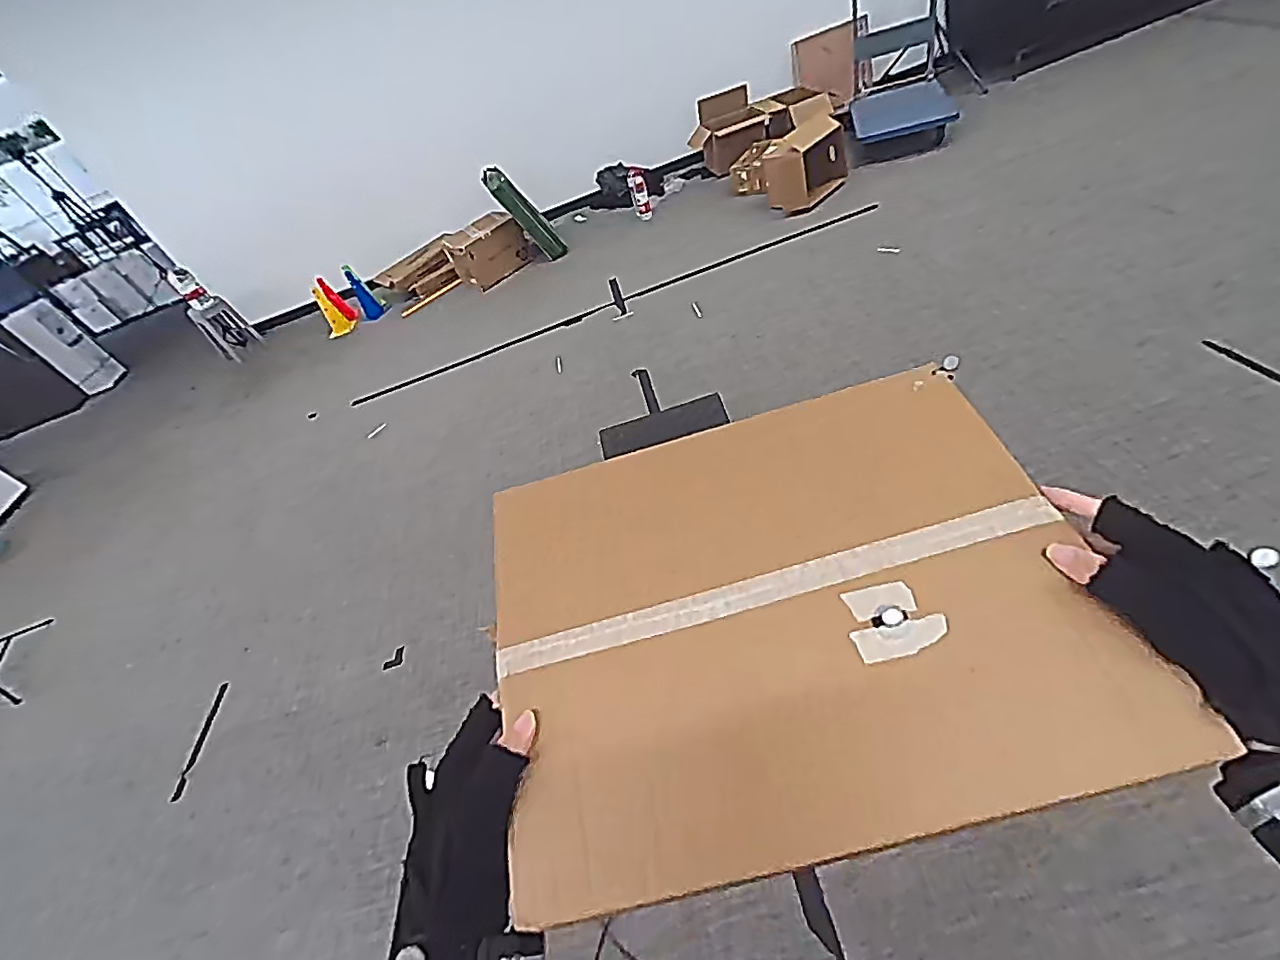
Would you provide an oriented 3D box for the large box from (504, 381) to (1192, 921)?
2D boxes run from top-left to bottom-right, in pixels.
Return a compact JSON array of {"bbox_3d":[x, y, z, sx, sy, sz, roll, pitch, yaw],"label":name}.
[{"bbox_3d":[0.124,0.170,0.519,0.408,0.320,0.320,-17,54,3],"label":"large box"}]
